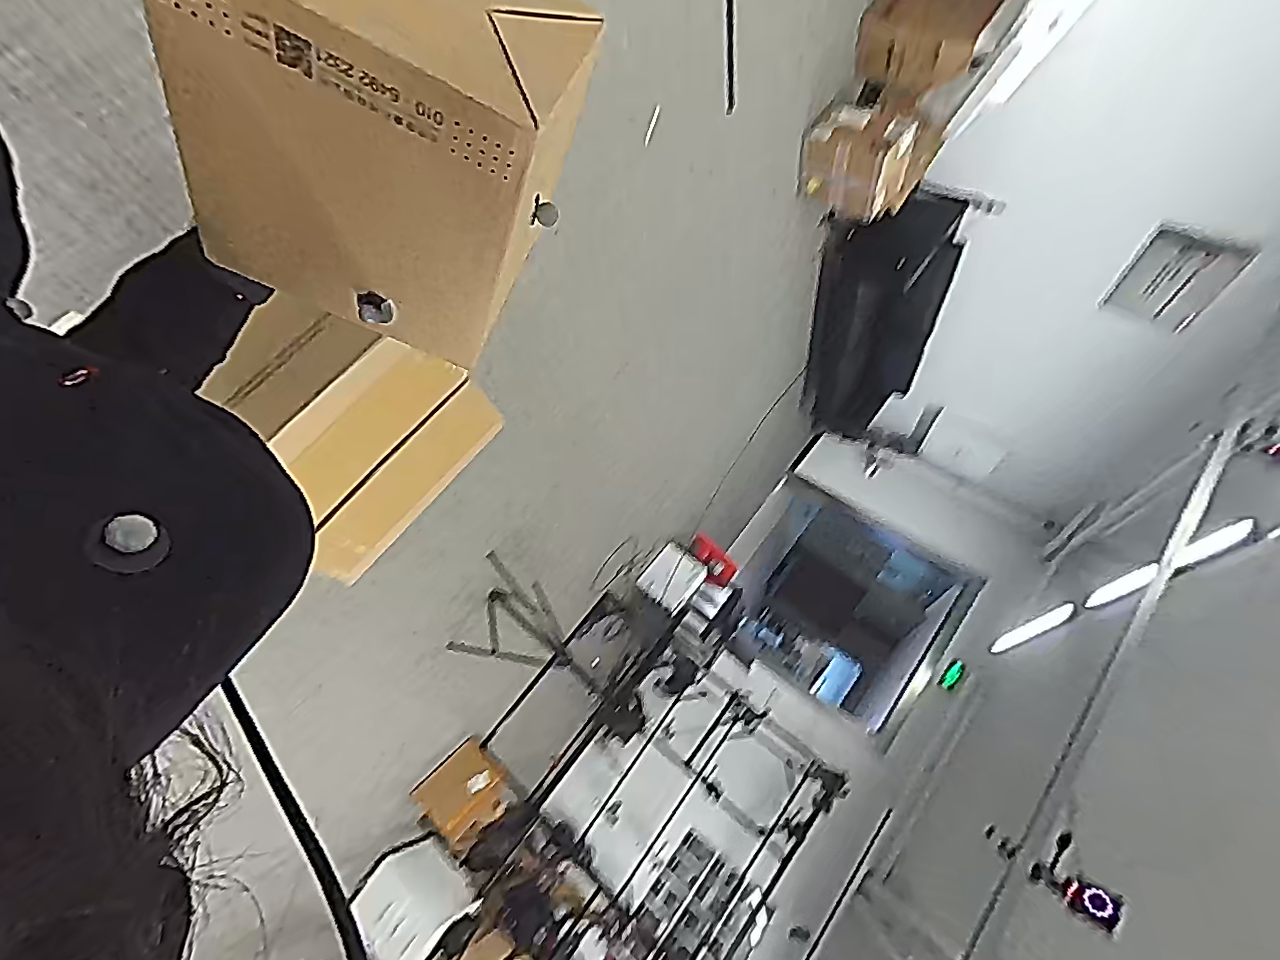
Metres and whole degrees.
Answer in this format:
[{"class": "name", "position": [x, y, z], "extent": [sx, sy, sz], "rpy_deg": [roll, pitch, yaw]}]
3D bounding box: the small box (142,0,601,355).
[{"class": "small box", "position": [-0.136, -0.217, 0.321], "extent": [0.176, 0.168, 0.179], "rpy_deg": [-50, -157, 52]}]
